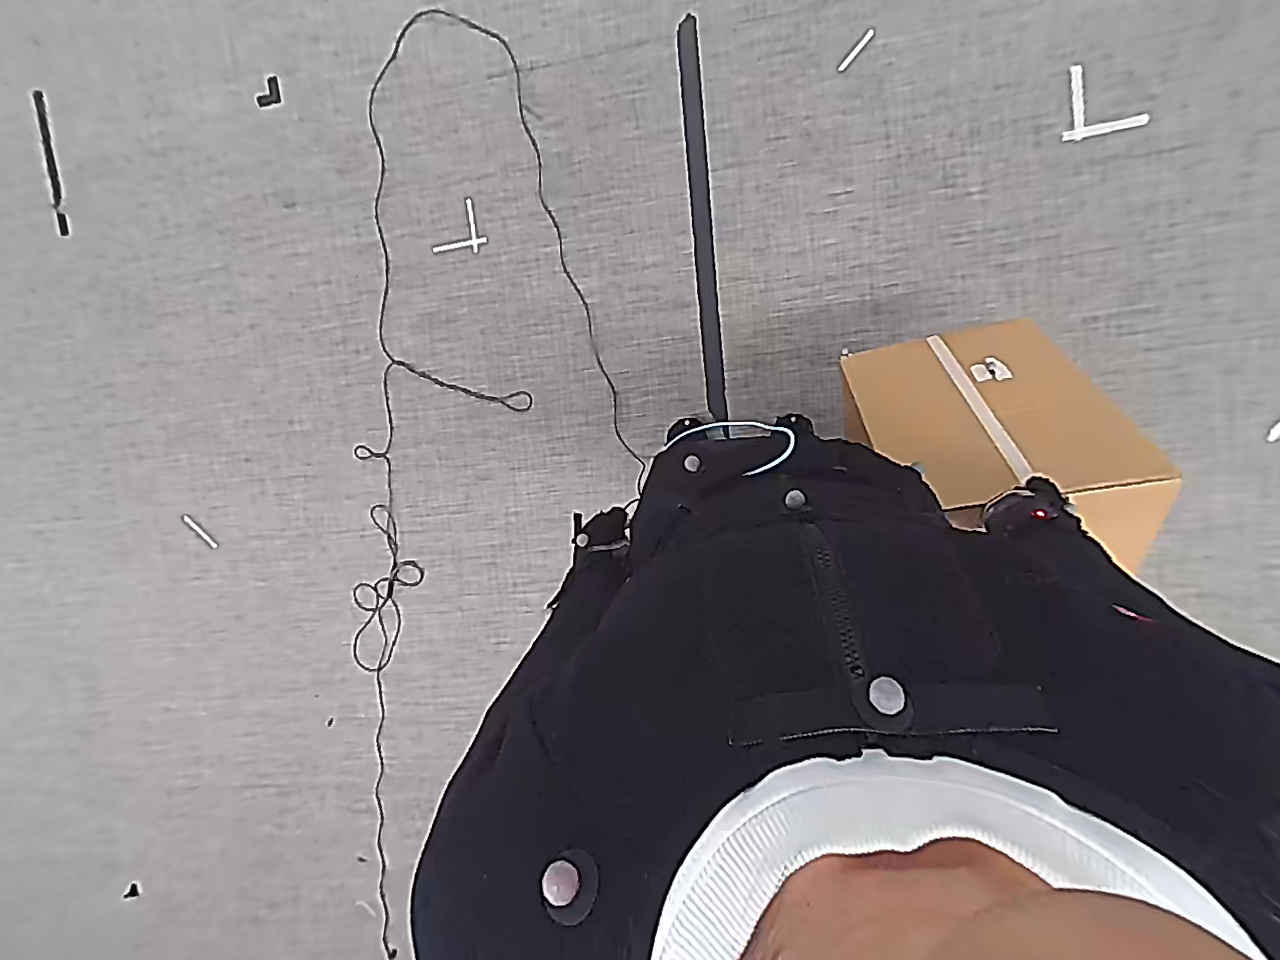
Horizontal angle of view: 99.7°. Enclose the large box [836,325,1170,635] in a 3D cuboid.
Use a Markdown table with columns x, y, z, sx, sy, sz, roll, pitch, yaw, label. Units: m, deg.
| x | y | z | sx | sy | sz | roll | pitch | yaw | label |
| --- | --- | --- | --- | --- | --- | --- | --- | --- | --- |
| 0.545 | -0.004 | 0.921 | 0.320 | 0.408 | 0.320 | -10 | 130 | 12 | large box |
